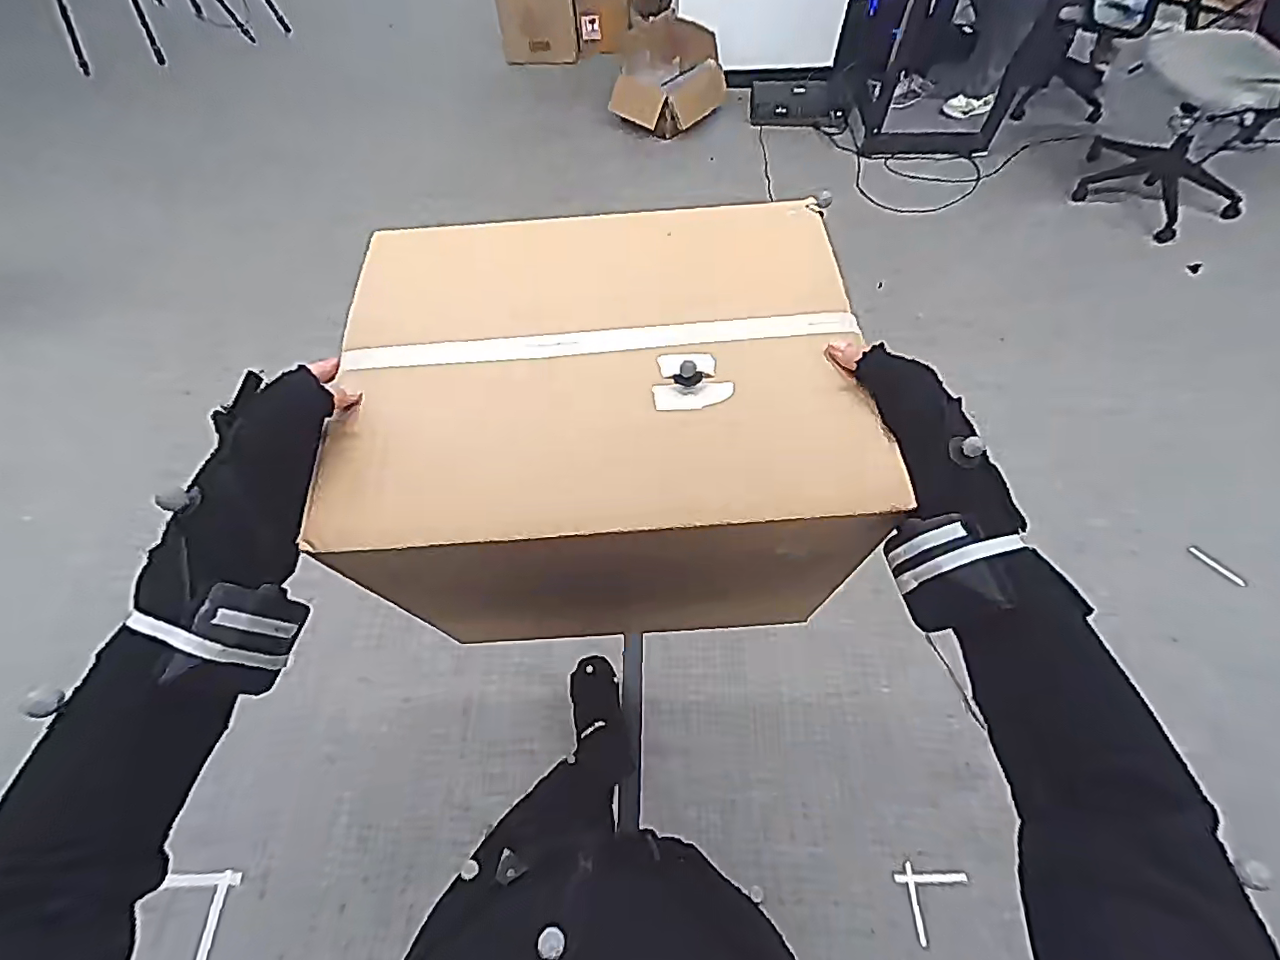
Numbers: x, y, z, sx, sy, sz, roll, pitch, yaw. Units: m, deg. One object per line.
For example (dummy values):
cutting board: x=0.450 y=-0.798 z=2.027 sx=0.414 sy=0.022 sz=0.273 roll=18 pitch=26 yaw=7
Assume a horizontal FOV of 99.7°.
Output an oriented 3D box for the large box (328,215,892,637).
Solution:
large box: x=-0.026 y=-0.034 z=0.574 sx=0.408 sy=0.320 sz=0.320 roll=-4 pitch=62 yaw=0
